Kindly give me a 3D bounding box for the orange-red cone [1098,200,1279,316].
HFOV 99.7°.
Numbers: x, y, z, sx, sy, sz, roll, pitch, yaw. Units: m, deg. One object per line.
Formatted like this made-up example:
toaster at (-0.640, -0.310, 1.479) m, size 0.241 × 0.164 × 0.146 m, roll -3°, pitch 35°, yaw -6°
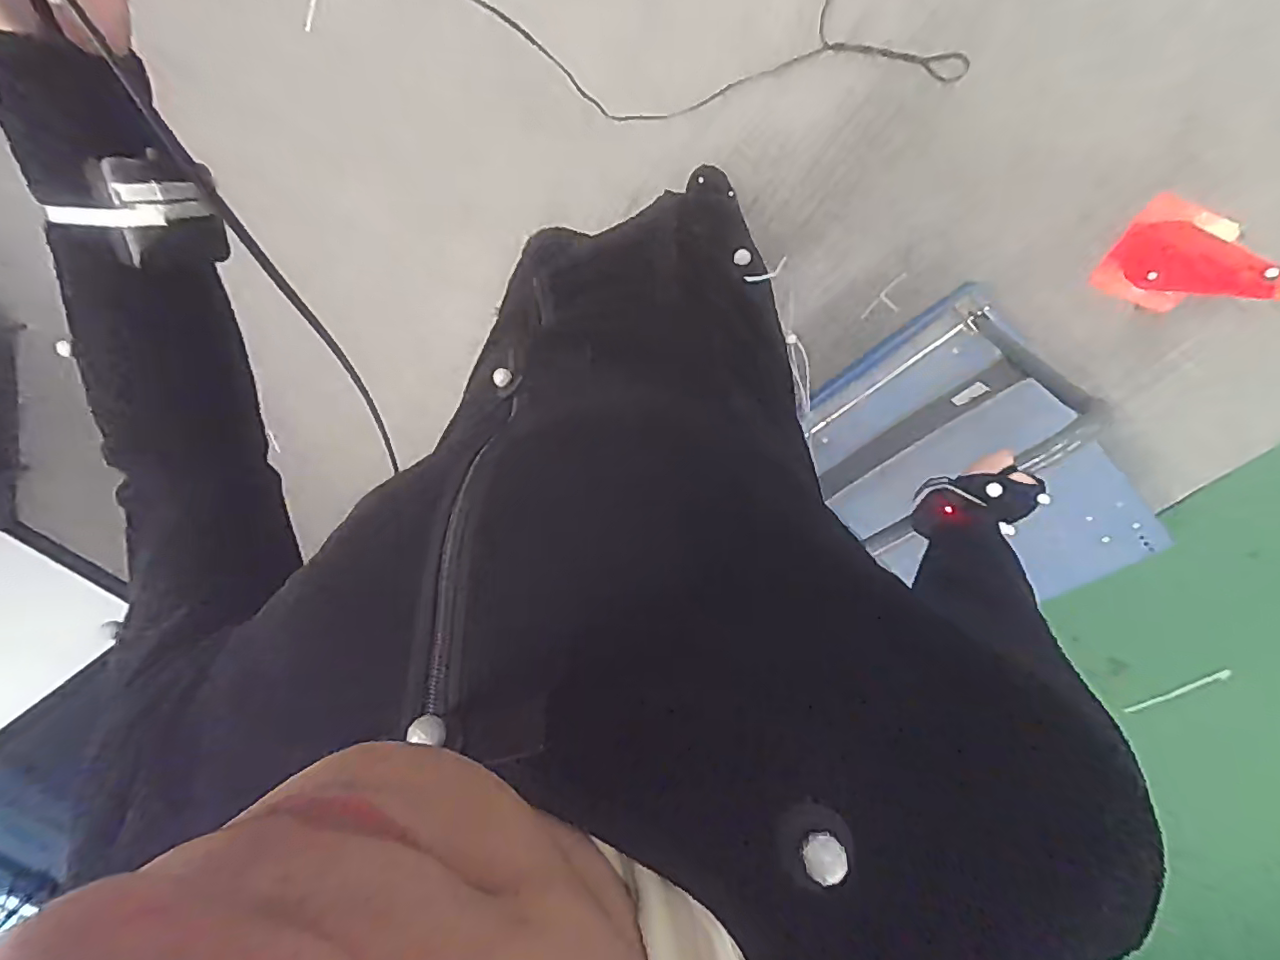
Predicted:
orange-red cone at (1.121, -0.397, 1.041) m, size 0.198 × 0.360 × 0.199 m, roll 24°, pitch 122°, yaw -2°
